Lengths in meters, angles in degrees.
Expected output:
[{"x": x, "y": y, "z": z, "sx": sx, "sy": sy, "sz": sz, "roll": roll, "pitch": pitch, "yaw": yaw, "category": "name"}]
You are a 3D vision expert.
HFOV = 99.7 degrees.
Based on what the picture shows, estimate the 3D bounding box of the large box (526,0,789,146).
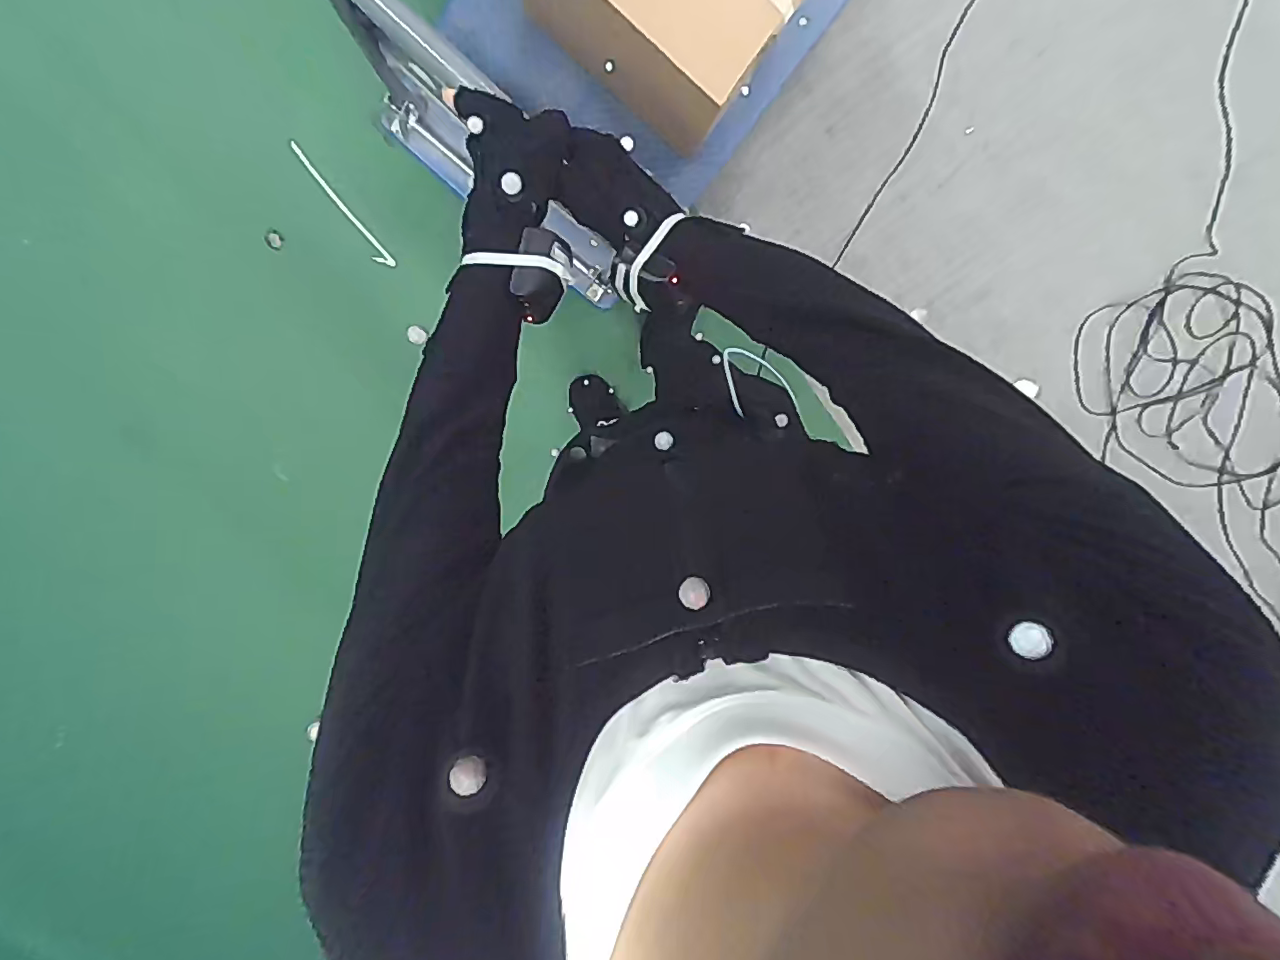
[{"x": 0.042, "y": -0.860, "z": 0.896, "sx": 0.408, "sy": 0.320, "sz": 0.320, "roll": 35, "pitch": 100, "yaw": -13, "category": "large box"}]
